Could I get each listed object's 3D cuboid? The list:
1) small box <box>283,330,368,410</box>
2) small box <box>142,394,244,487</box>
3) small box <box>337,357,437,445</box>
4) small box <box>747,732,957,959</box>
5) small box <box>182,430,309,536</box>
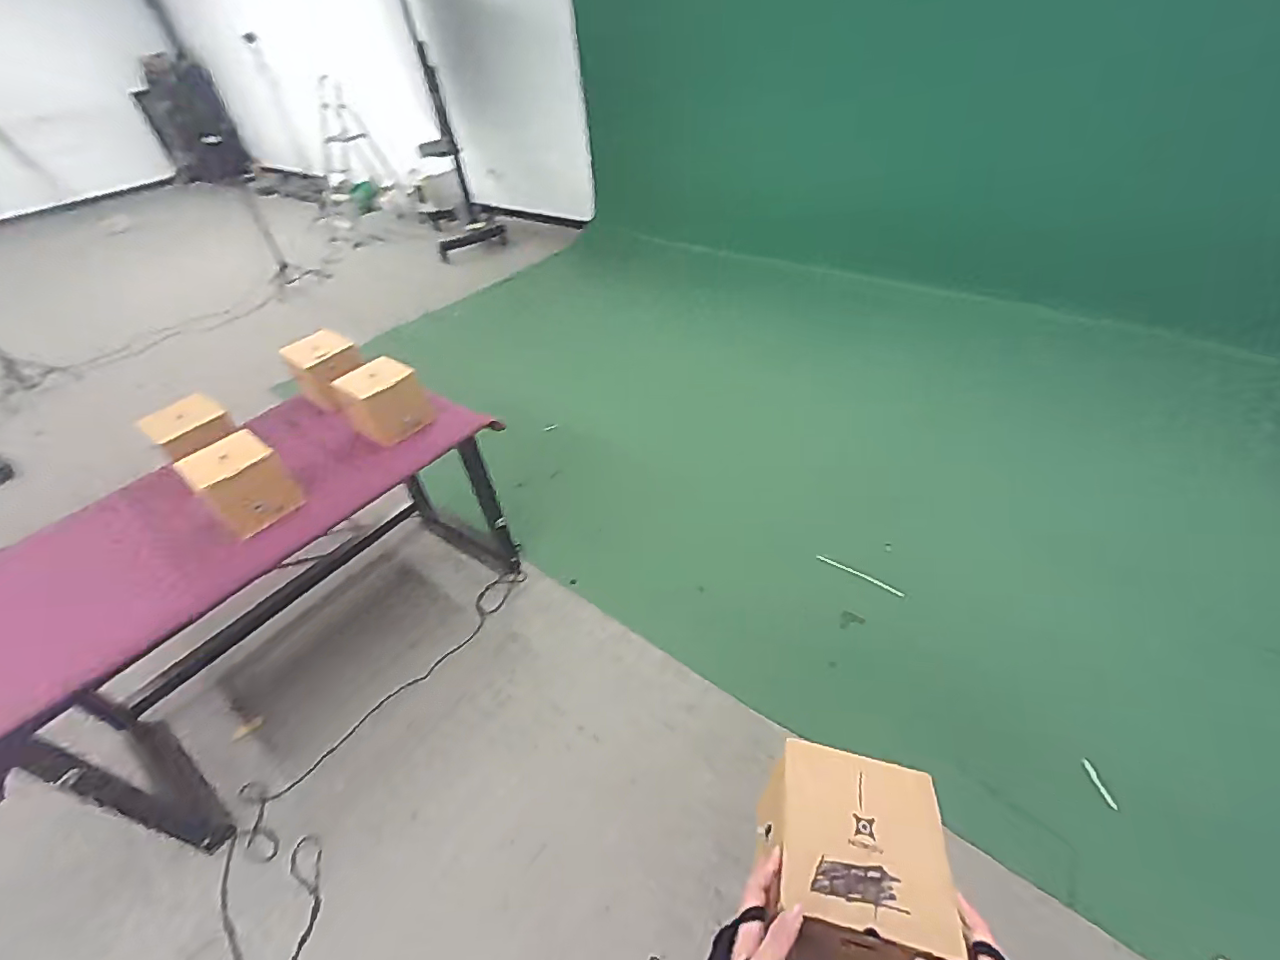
[{"bbox_3d":[-0.976,-0.346,1.714,0.179,0.176,0.168,26,53,28],"label":"small box"},{"bbox_3d":[-1.199,-0.107,1.486,0.179,0.176,0.168,27,52,29],"label":"small box"},{"bbox_3d":[-0.723,-0.226,1.556,0.179,0.176,0.168,26,52,31],"label":"small box"},{"bbox_3d":[0.218,0.424,0.604,0.168,0.176,0.179,11,37,8],"label":"small box"},{"bbox_3d":[-0.967,0.009,1.334,0.179,0.176,0.168,25,51,31],"label":"small box"}]
